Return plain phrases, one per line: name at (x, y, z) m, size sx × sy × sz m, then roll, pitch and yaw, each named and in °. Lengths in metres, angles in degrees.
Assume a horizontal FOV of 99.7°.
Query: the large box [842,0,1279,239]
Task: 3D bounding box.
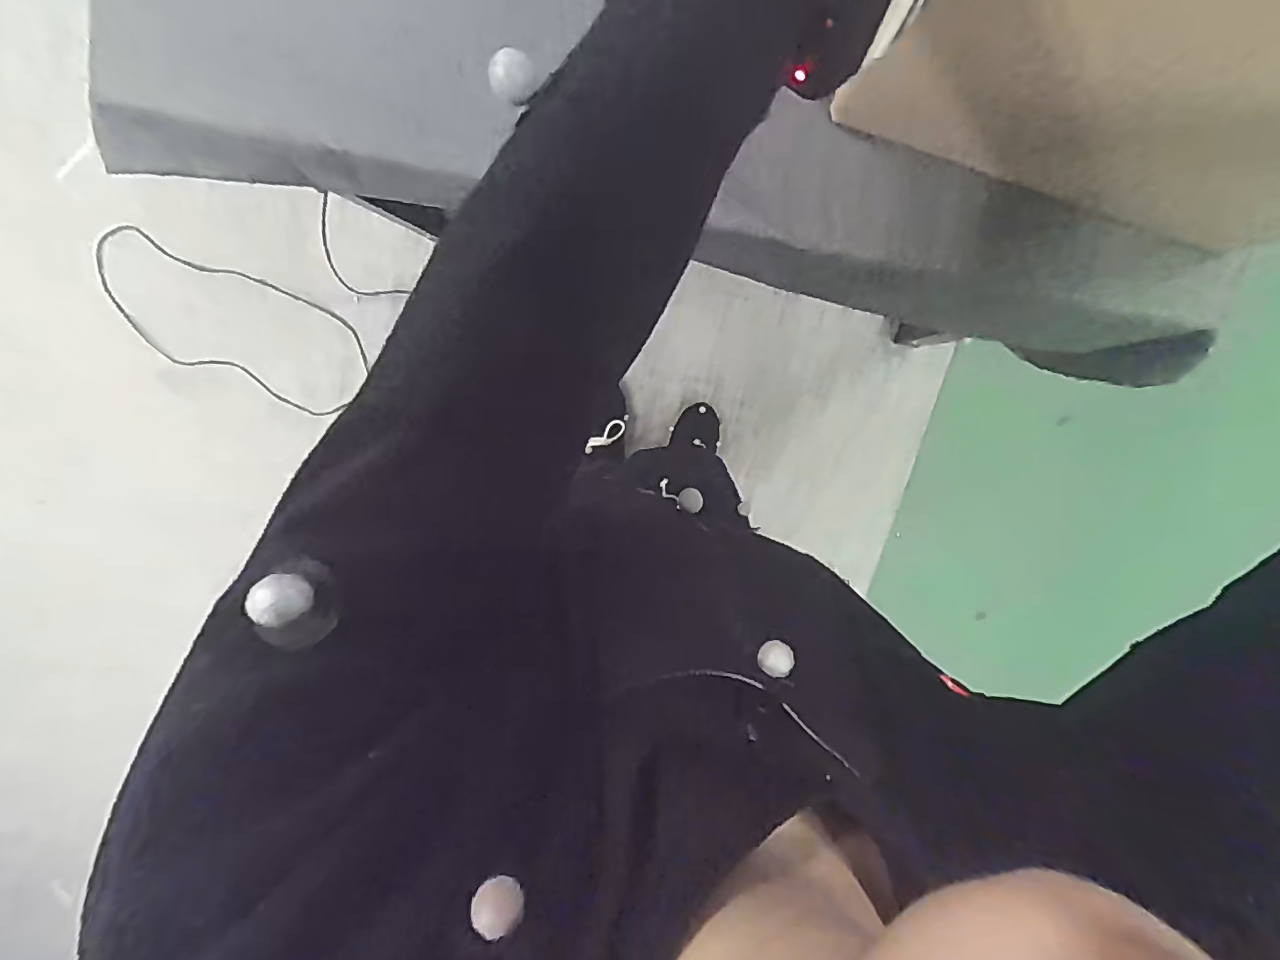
large box at (0.406, -0.393, 0.338) m, size 0.408 × 0.320 × 0.320 m, roll 20°, pitch 107°, yaw 1°
